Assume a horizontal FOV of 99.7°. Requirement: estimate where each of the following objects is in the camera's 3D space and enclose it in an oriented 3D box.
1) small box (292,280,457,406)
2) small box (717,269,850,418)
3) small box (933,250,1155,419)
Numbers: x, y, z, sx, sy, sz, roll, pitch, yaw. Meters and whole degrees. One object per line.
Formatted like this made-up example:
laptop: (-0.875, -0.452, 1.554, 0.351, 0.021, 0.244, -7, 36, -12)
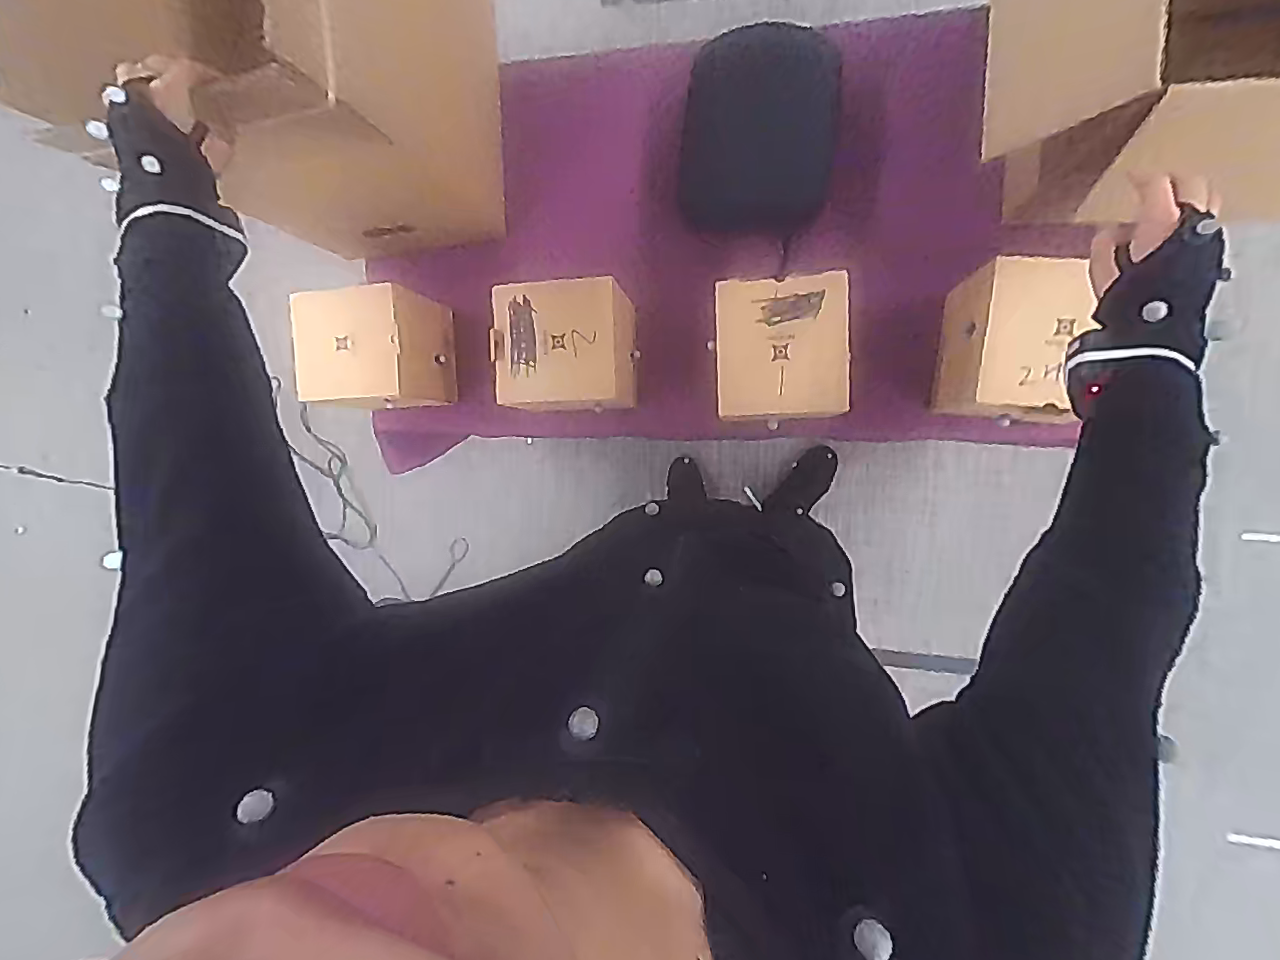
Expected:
small box: (-0.422, -0.211, 0.881, 0.179, 0.176, 0.168, -2, 94, 10)
small box: (0.195, -0.180, 0.764, 0.168, 0.176, 0.179, -1, 95, 11)
small box: (0.504, -0.178, 0.703, 0.168, 0.176, 0.179, 7, 95, 11)
